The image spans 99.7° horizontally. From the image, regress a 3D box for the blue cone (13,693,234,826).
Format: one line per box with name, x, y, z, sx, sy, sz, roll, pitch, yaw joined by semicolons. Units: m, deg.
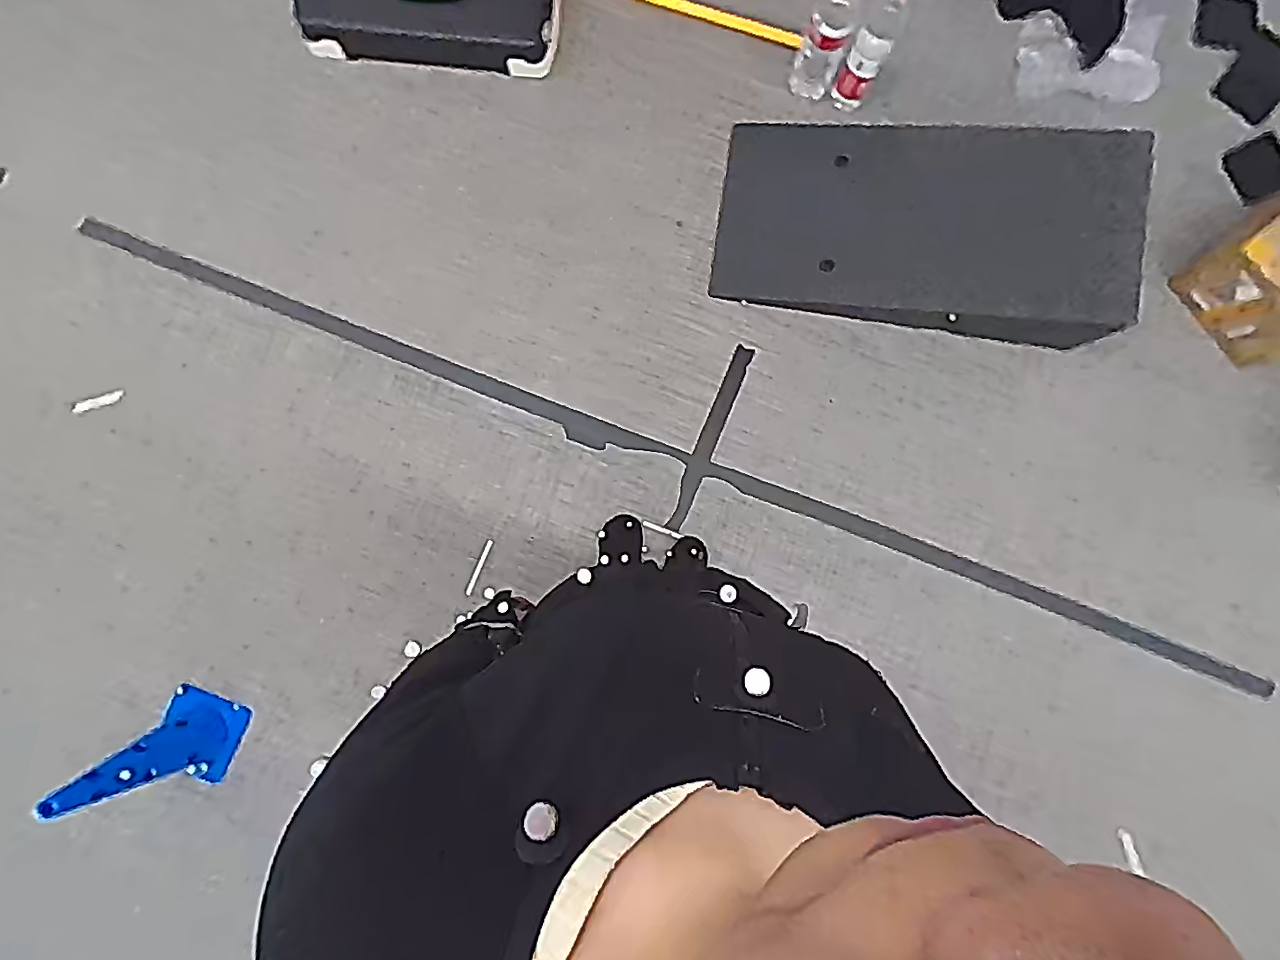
blue cone;-1.107;0.626;1.162;0.192;0.380;0.193;23;86;2
